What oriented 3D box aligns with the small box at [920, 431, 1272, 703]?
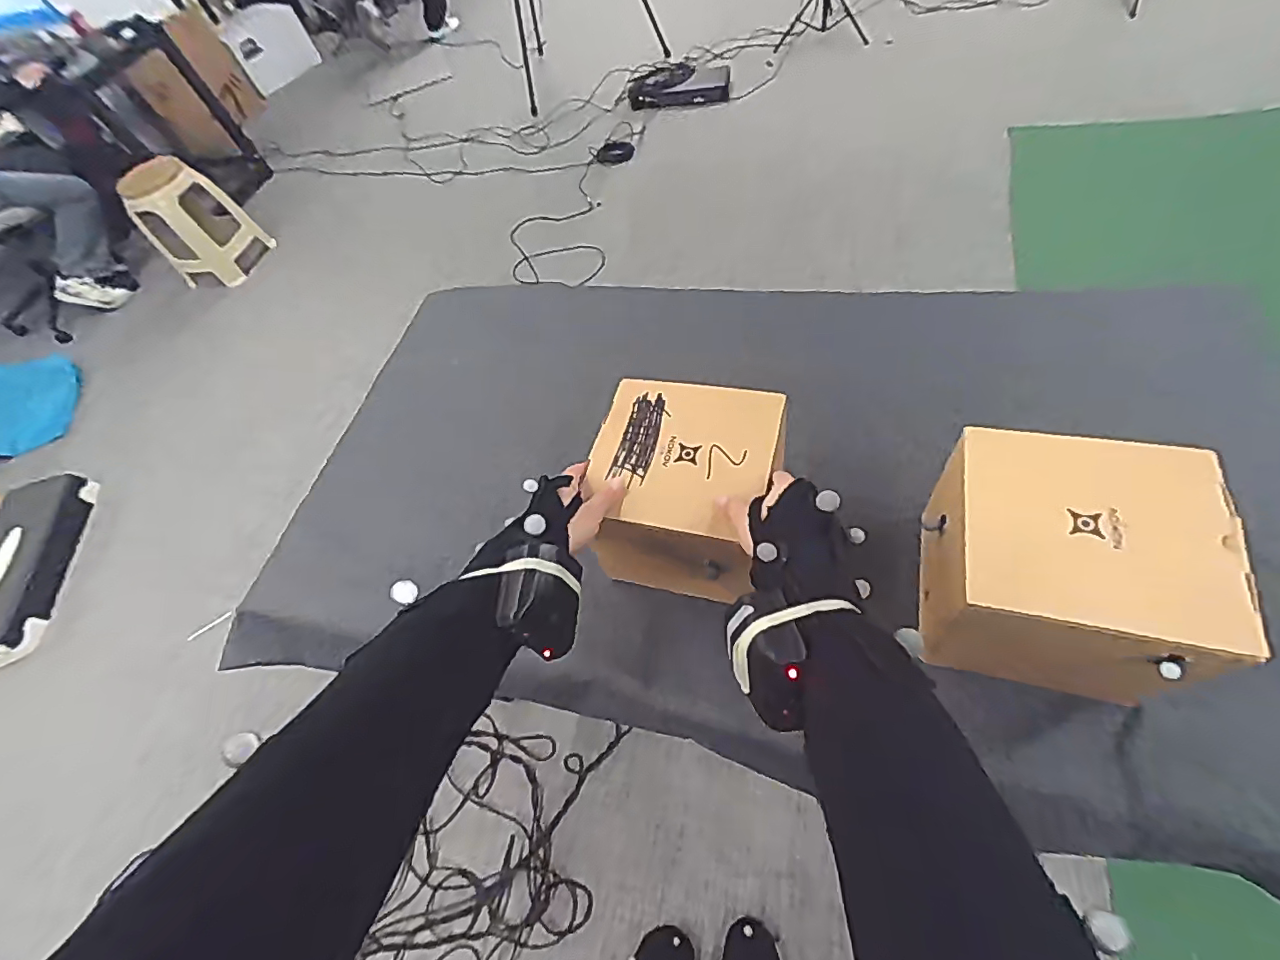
[{"bbox_3d":[0.356,0.079,0.470,0.179,0.176,0.168,8,60,18],"label":"small box"}]
